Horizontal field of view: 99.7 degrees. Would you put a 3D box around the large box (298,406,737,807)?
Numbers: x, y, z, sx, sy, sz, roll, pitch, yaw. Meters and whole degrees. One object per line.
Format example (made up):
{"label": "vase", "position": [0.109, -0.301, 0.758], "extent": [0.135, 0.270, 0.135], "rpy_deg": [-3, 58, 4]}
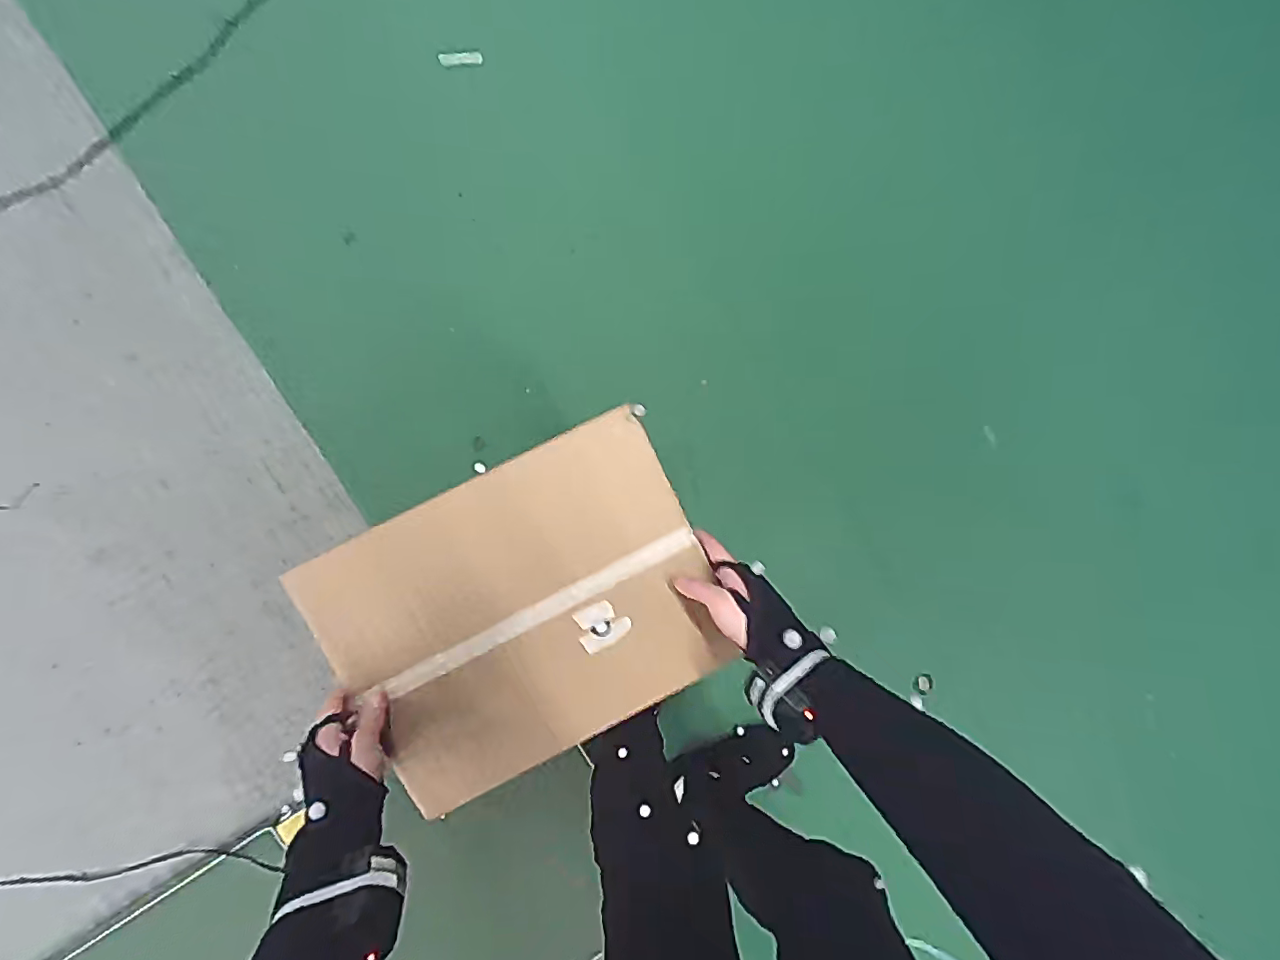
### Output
{"label": "large box", "position": [-0.144, 0.135, 0.752], "extent": [0.408, 0.320, 0.320], "rpy_deg": [-28, 97, -5]}
